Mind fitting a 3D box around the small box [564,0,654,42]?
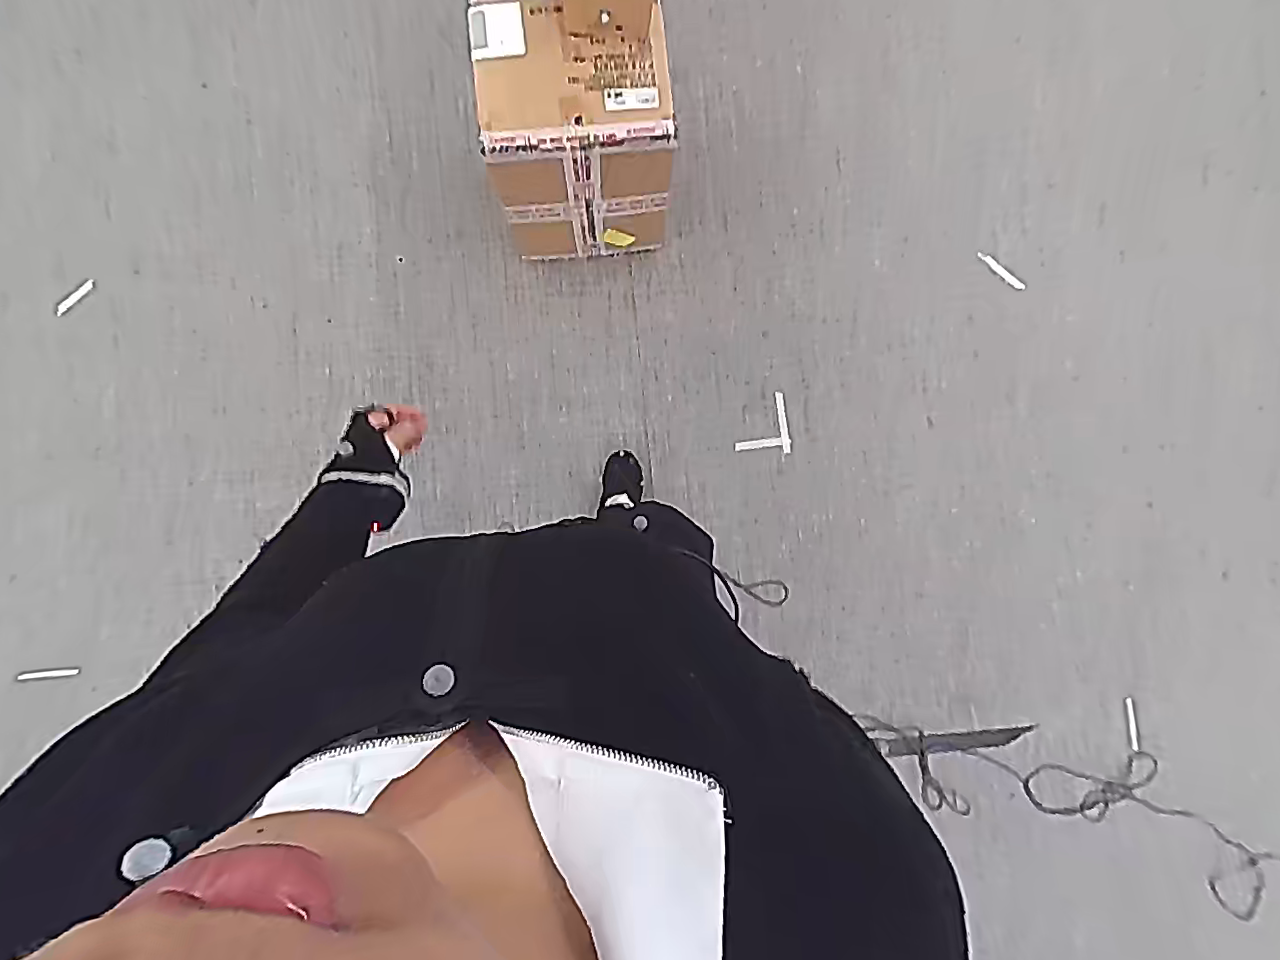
[{"bbox_3d":[-0.053,-0.953,0.979,0.168,0.176,0.179,2,89,-4],"label":"small box"}]
